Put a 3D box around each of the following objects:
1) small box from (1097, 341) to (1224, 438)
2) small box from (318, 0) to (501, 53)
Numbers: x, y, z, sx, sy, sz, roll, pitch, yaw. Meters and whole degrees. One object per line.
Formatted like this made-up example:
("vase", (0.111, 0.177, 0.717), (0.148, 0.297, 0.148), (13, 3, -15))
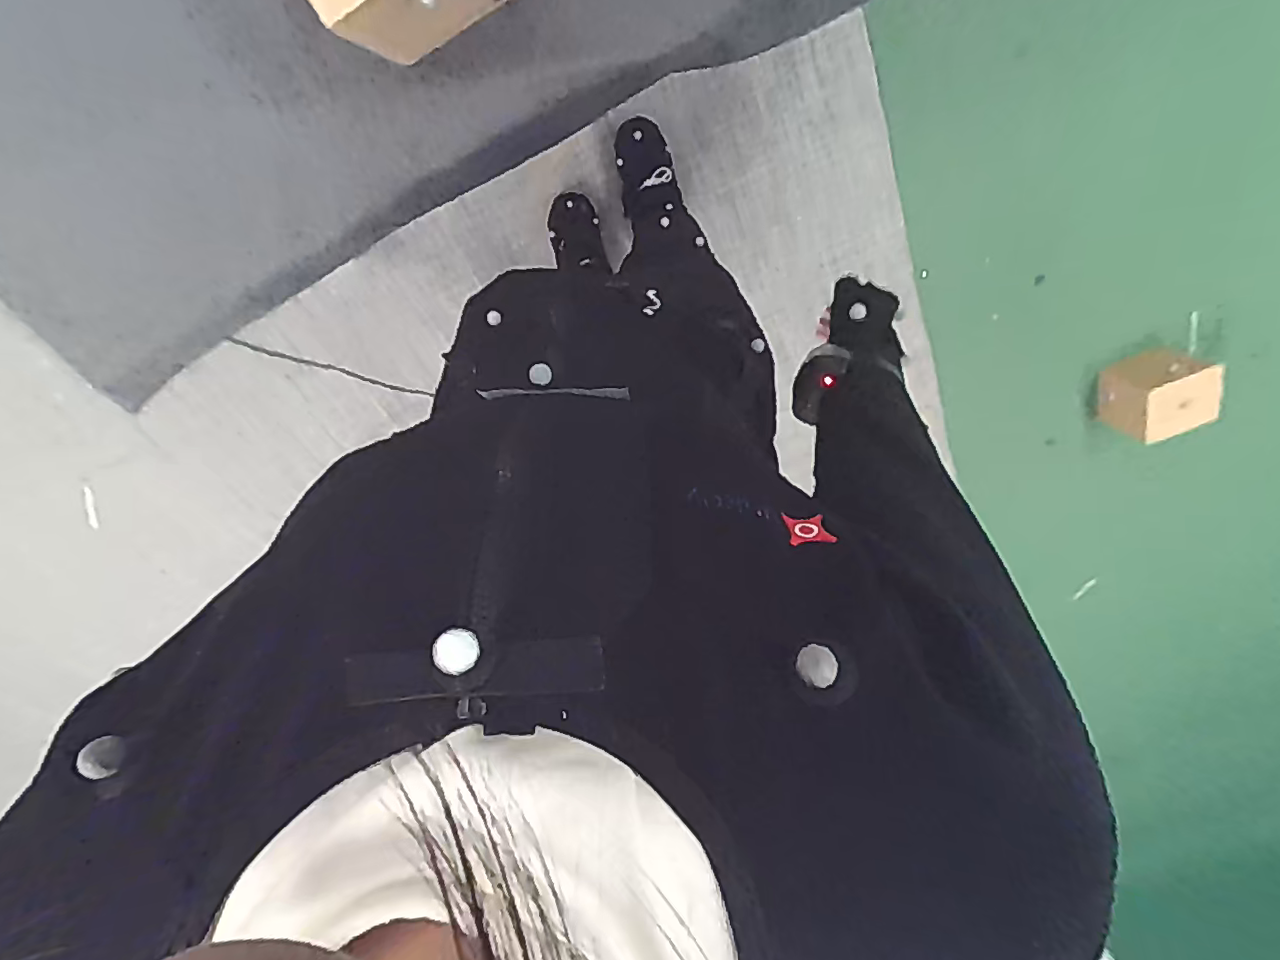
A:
("small box", (1.368, -0.244, 1.432), (0.179, 0.176, 0.168), (-23, 119, 11))
("small box", (-0.169, -0.434, 0.359), (0.168, 0.176, 0.179), (-25, 118, 11))
